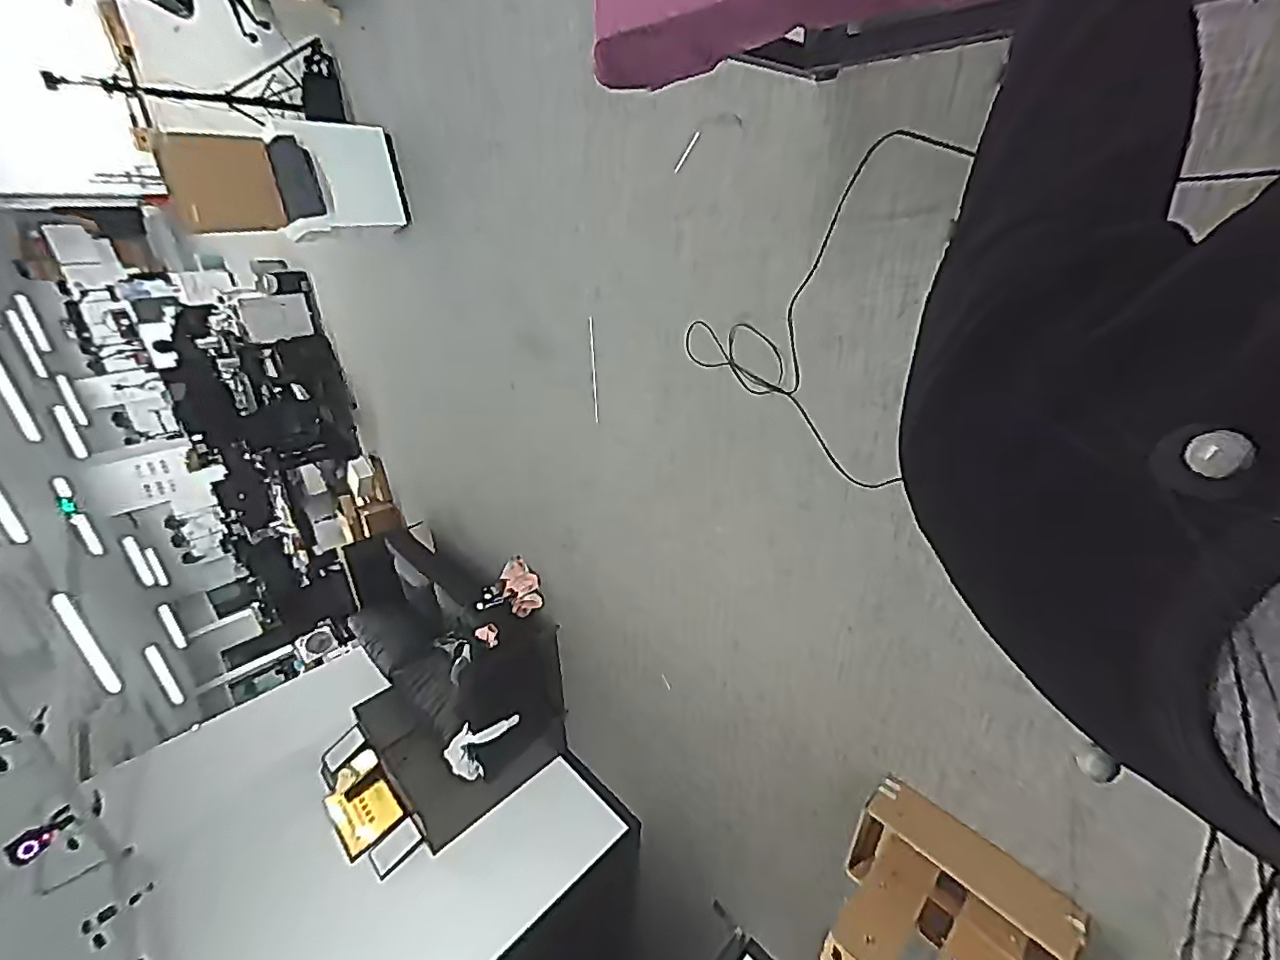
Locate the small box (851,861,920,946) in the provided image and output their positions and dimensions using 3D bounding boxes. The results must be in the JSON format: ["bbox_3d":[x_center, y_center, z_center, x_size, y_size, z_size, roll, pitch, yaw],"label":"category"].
[{"bbox_3d":[0.790,1.405,1.766,0.168,0.176,0.179,27,126,39],"label":"small box"}]

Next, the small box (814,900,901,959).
[{"bbox_3d":[0.668,1.448,1.664,0.179,0.176,0.168,26,126,38],"label":"small box"}]

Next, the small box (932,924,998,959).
[{"bbox_3d":[0.966,1.488,1.602,0.179,0.176,0.168,25,125,42],"label":"small box"}]
